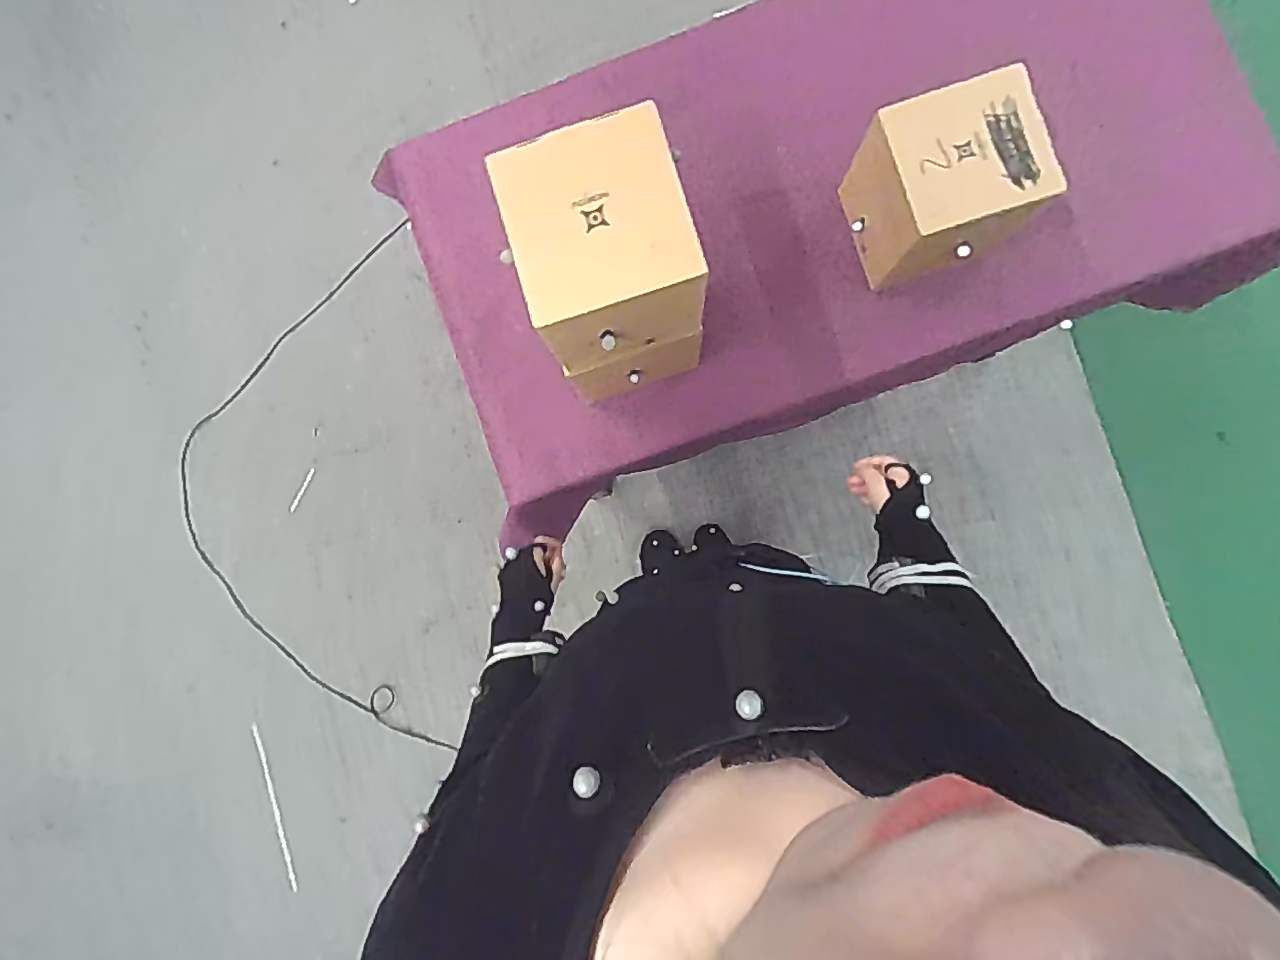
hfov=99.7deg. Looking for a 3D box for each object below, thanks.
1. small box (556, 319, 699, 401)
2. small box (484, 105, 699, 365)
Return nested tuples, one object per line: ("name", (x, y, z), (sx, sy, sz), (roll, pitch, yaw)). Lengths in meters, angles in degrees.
("small box", (-0.030, -0.222, 0.734), (0.179, 0.176, 0.168), (-18, 85, 3))
("small box", (-0.039, -0.235, 0.573), (0.168, 0.176, 0.179), (-17, 84, 3))
